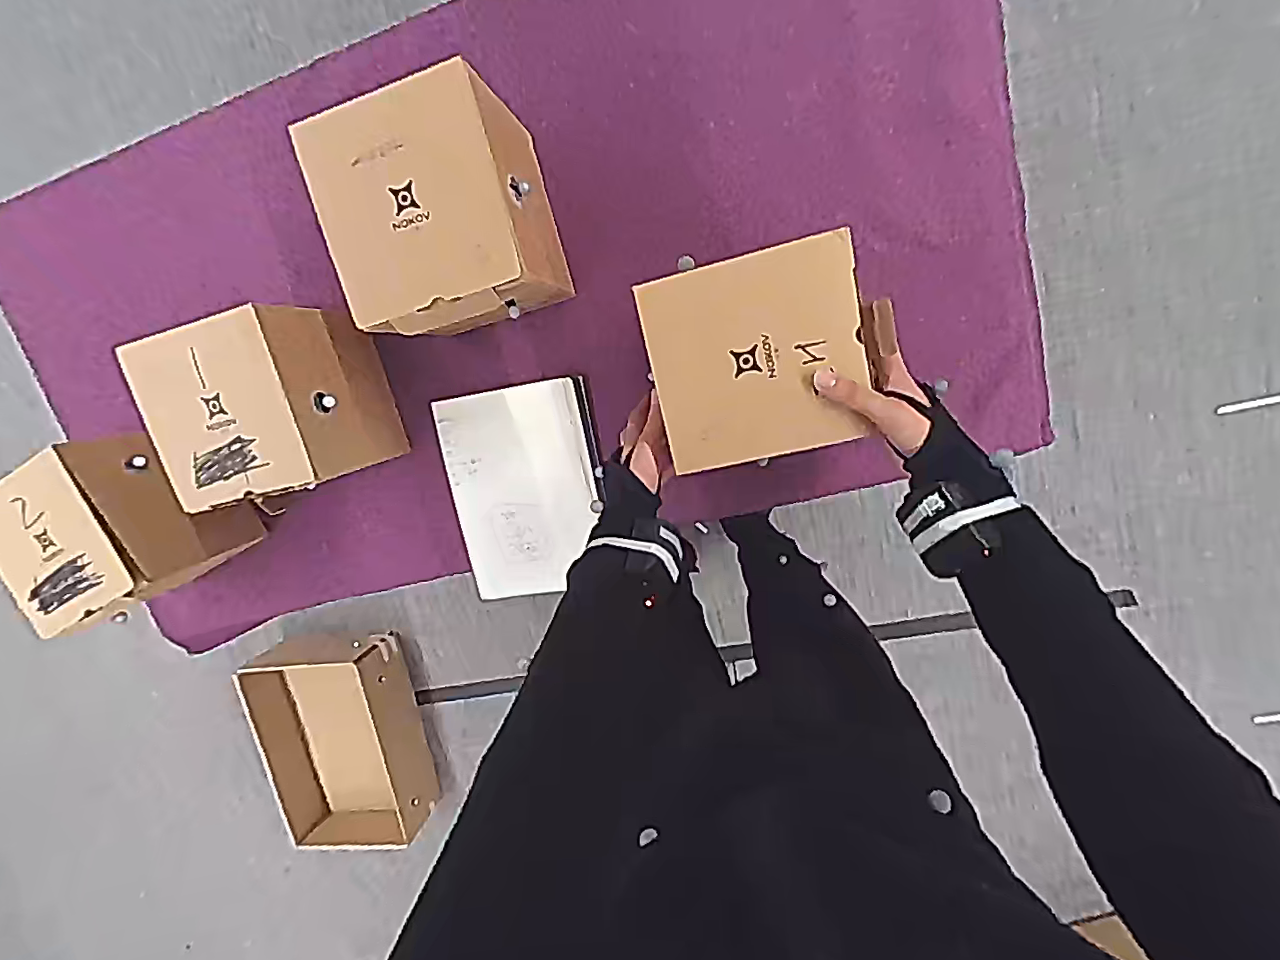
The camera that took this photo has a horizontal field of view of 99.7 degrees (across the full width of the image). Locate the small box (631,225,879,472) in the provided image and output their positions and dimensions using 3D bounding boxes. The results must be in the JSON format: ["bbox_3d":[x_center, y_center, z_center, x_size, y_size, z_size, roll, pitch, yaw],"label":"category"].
[{"bbox_3d":[0.104,-0.117,0.513,0.179,0.176,0.168,-12,102,10],"label":"small box"}]

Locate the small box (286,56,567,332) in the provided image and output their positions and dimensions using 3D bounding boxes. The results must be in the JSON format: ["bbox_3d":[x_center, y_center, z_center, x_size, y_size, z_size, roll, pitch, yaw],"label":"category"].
[{"bbox_3d":[-0.184,-0.250,0.526,0.168,0.176,0.179,-13,101,11],"label":"small box"}]

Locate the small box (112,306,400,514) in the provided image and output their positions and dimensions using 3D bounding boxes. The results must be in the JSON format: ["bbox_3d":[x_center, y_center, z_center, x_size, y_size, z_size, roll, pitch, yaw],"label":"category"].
[{"bbox_3d":[-0.400,-0.080,0.599,0.168,0.176,0.179,-12,101,11],"label":"small box"}]
